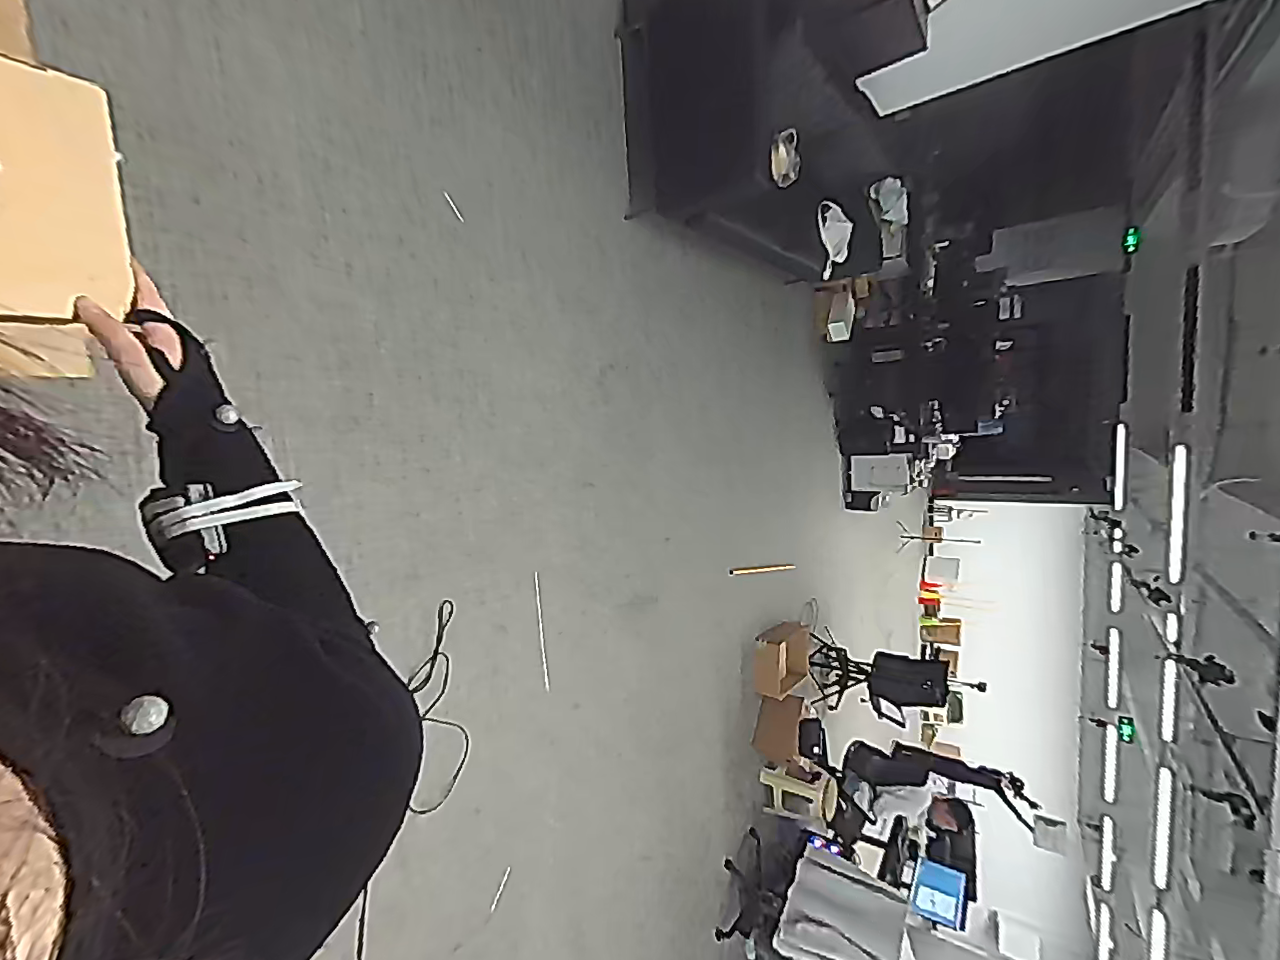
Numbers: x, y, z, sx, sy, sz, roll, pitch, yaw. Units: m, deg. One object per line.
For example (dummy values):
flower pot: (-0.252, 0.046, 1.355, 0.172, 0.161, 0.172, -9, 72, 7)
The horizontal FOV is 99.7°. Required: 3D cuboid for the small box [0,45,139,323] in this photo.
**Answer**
small box: (-0.511, -0.210, 0.391, 0.168, 0.176, 0.179, -18, 112, -58)
